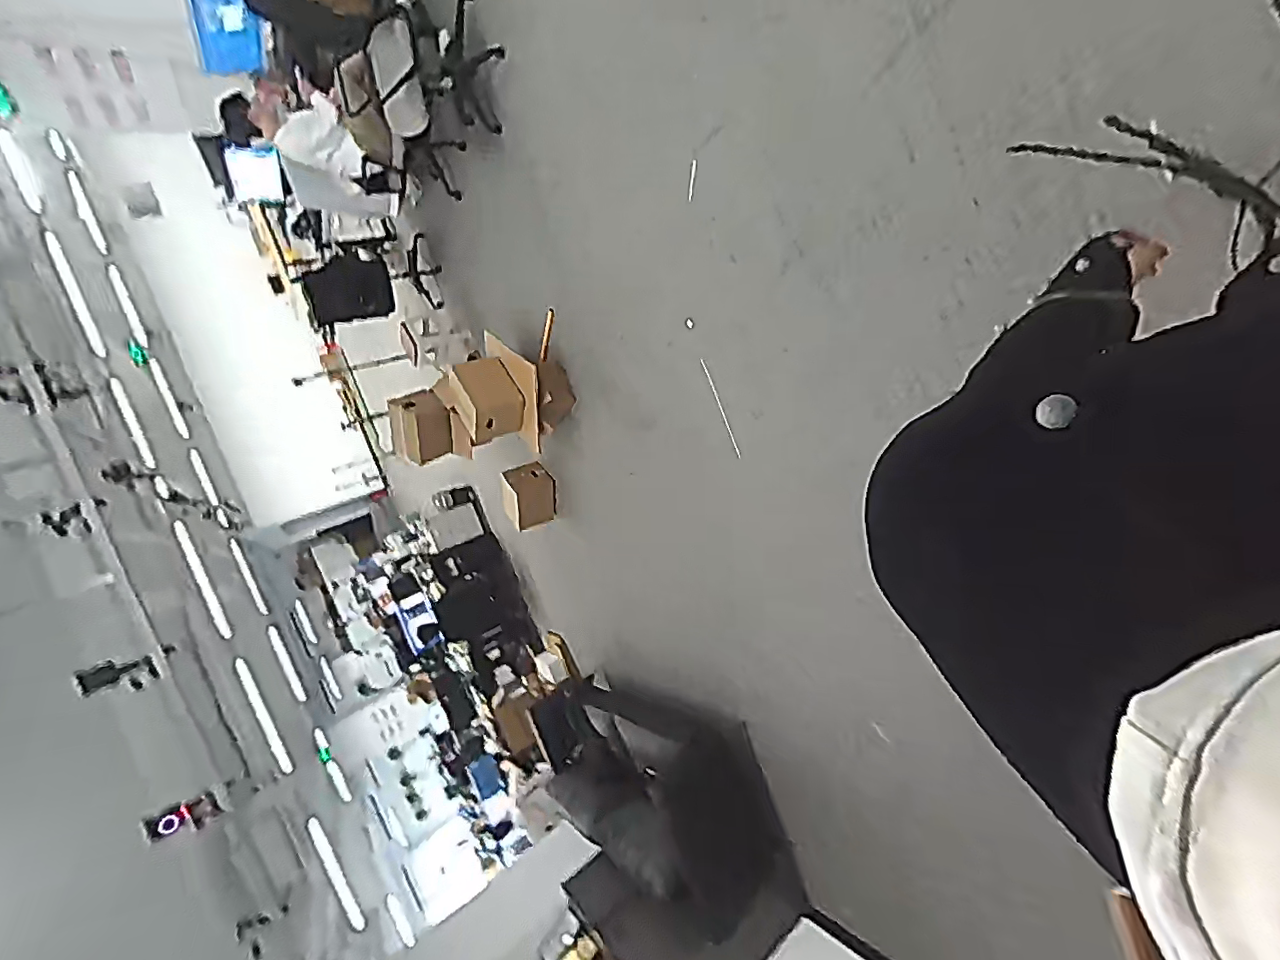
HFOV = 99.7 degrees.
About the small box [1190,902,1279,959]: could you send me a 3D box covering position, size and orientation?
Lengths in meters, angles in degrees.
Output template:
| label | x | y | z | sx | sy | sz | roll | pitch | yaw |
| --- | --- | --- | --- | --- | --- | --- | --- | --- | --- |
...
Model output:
| label | x | y | z | sx | sy | sz | roll | pitch | yaw |
| --- | --- | --- | --- | --- | --- | --- | --- | --- | --- |
| small box | 0.962 | 0.788 | 0.801 | 0.179 | 0.176 | 0.168 | -20 | 94 | 59 |
